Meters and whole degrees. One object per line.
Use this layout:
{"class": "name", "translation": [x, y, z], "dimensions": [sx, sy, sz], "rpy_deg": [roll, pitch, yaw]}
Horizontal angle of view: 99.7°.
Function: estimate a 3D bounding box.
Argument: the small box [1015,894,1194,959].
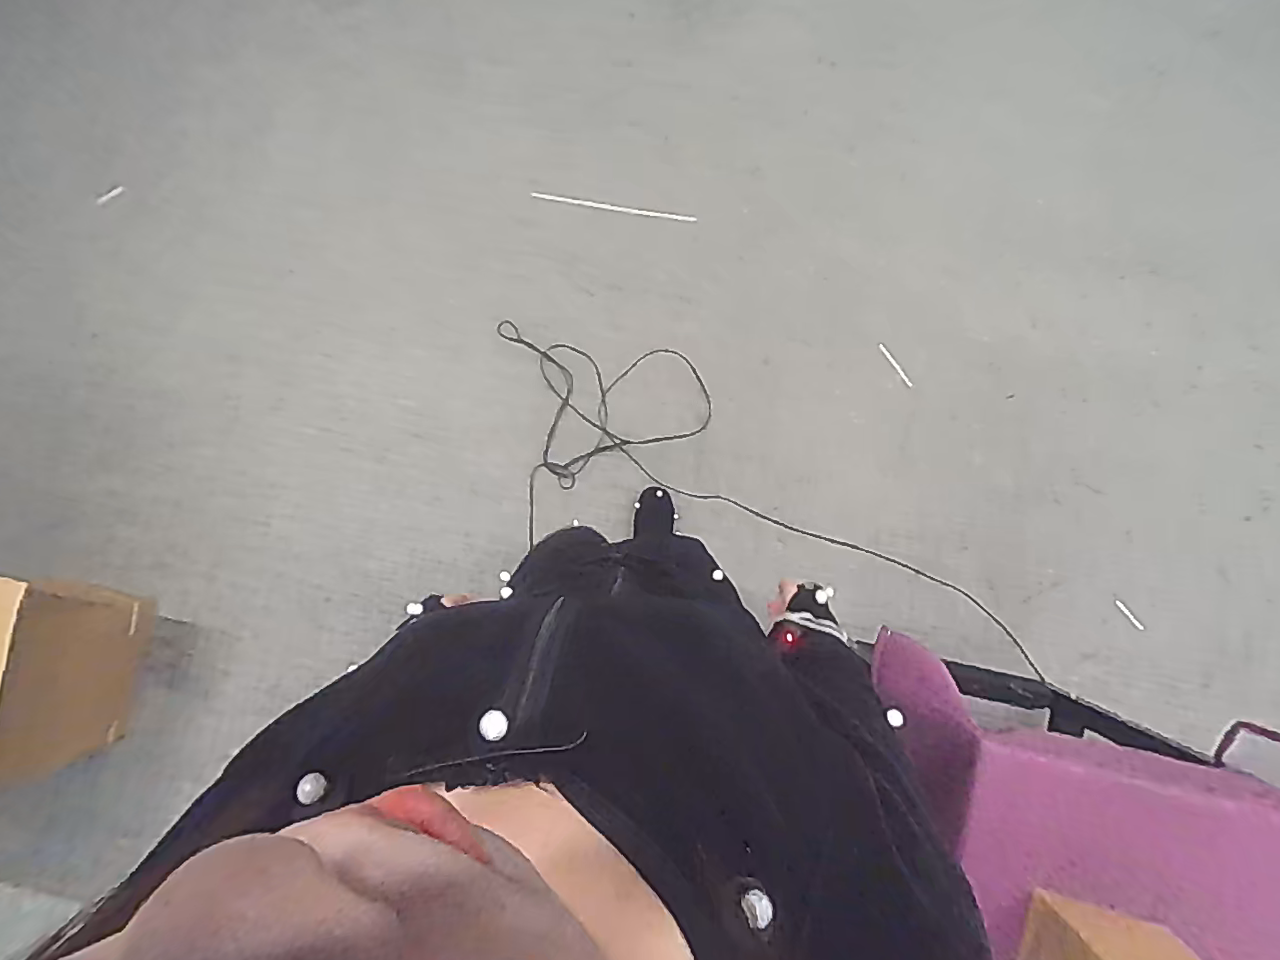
{"class": "small box", "translation": [0.568, 0.633, 0.626], "dimensions": [0.179, 0.176, 0.168], "rpy_deg": [16, 88, 3]}
